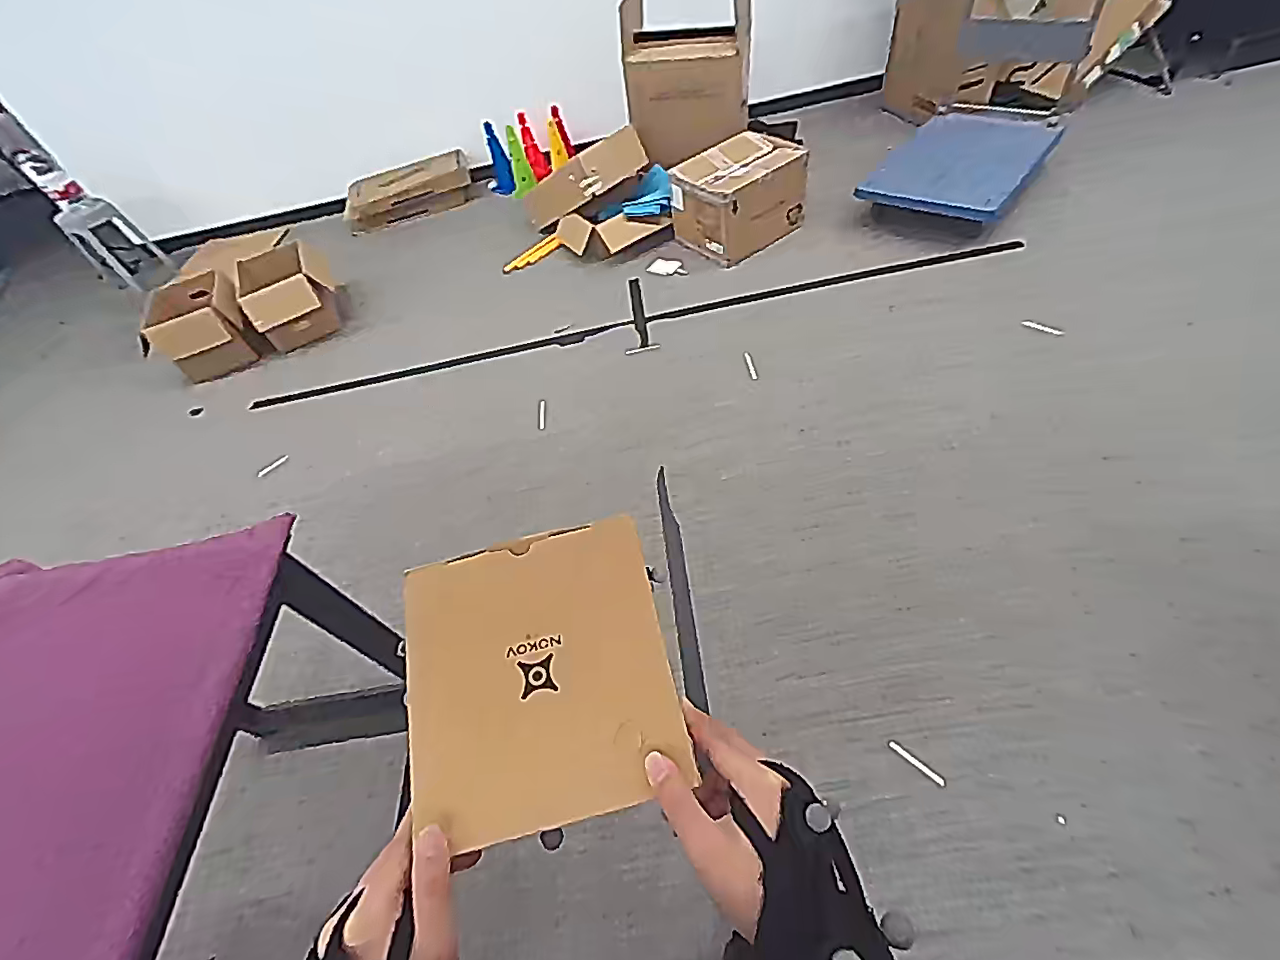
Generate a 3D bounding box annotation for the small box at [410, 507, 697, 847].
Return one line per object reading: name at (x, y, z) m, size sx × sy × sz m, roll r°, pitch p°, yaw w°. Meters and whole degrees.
small box at (-0.056, 0.148, 0.414) m, size 0.168 × 0.176 × 0.179 m, roll -15°, pitch 62°, yaw -3°
